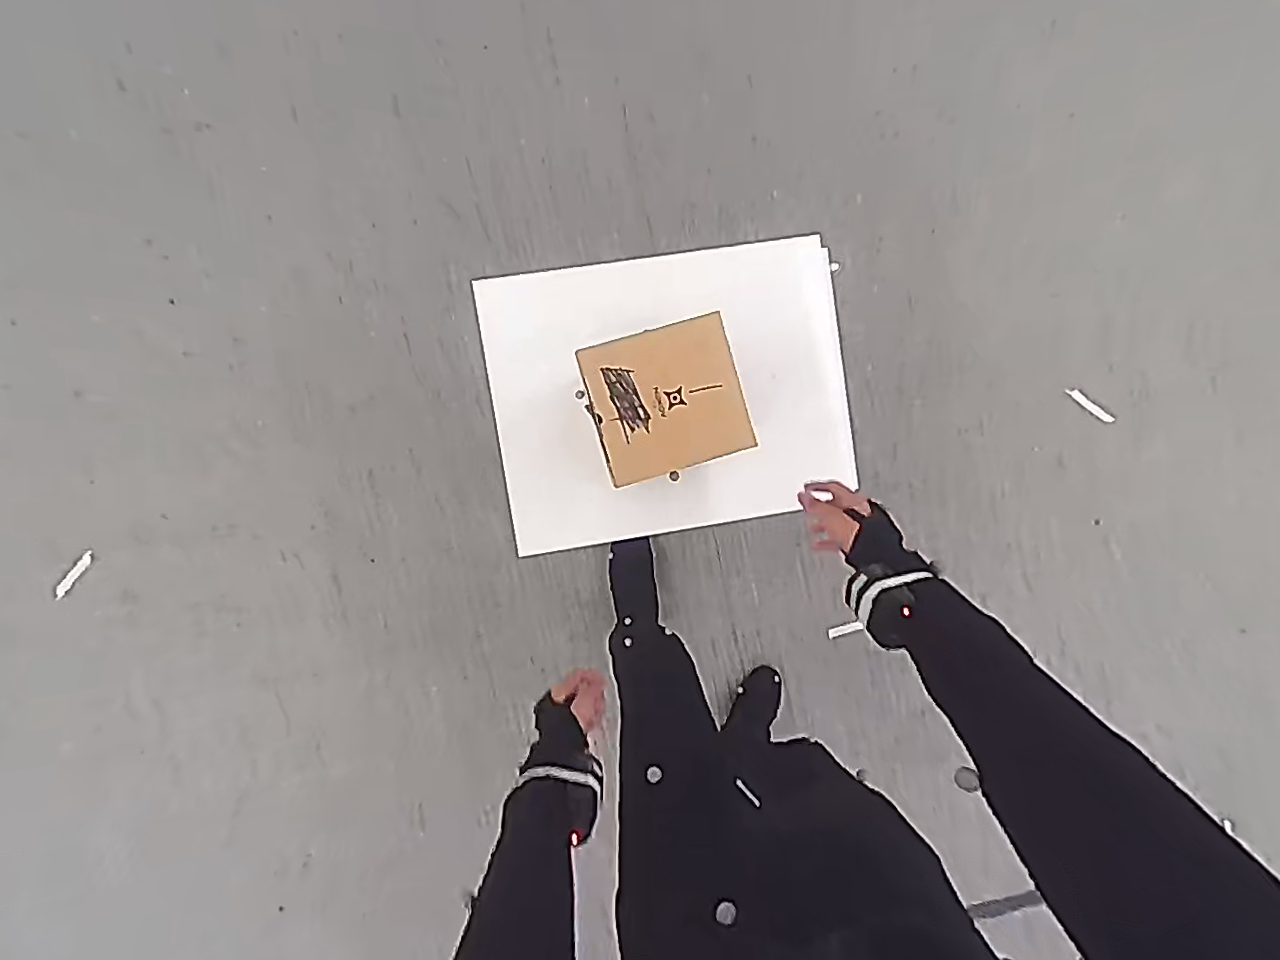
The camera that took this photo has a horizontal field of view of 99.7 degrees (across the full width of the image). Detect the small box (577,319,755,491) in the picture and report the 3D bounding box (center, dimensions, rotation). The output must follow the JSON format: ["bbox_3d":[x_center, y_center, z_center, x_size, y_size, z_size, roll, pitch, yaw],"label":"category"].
[{"bbox_3d":[0.027,-0.088,0.705,0.179,0.176,0.168,-17,93,-5],"label":"small box"}]
